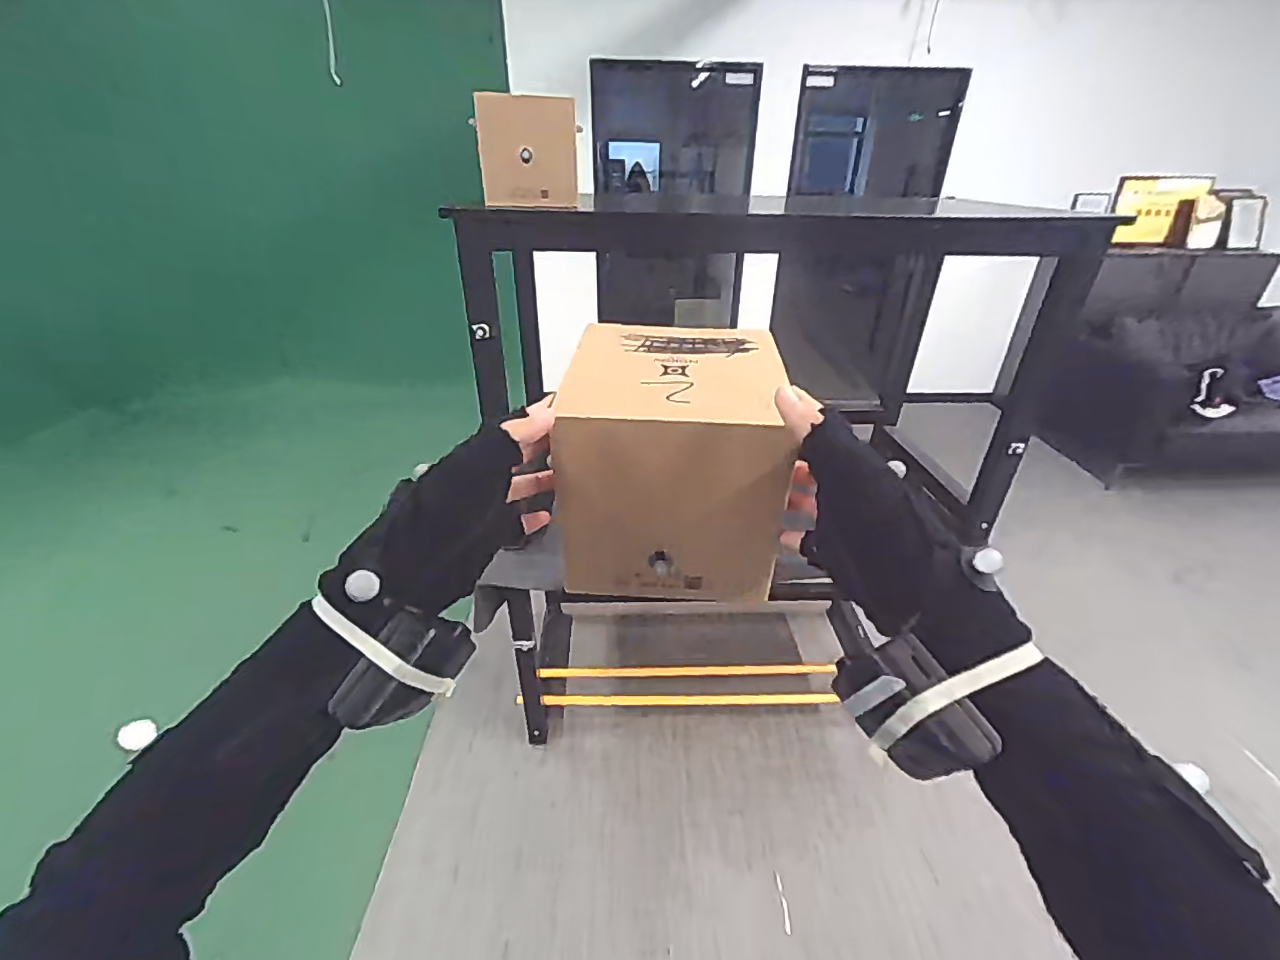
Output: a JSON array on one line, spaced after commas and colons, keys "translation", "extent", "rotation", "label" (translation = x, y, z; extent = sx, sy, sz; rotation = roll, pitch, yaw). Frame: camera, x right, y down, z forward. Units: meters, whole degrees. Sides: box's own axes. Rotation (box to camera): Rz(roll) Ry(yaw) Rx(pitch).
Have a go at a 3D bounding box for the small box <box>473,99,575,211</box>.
[{"translation": [-0.209, -0.603, 1.014], "extent": [0.168, 0.176, 0.179], "rotation": [-3, 30, -8], "label": "small box"}]
